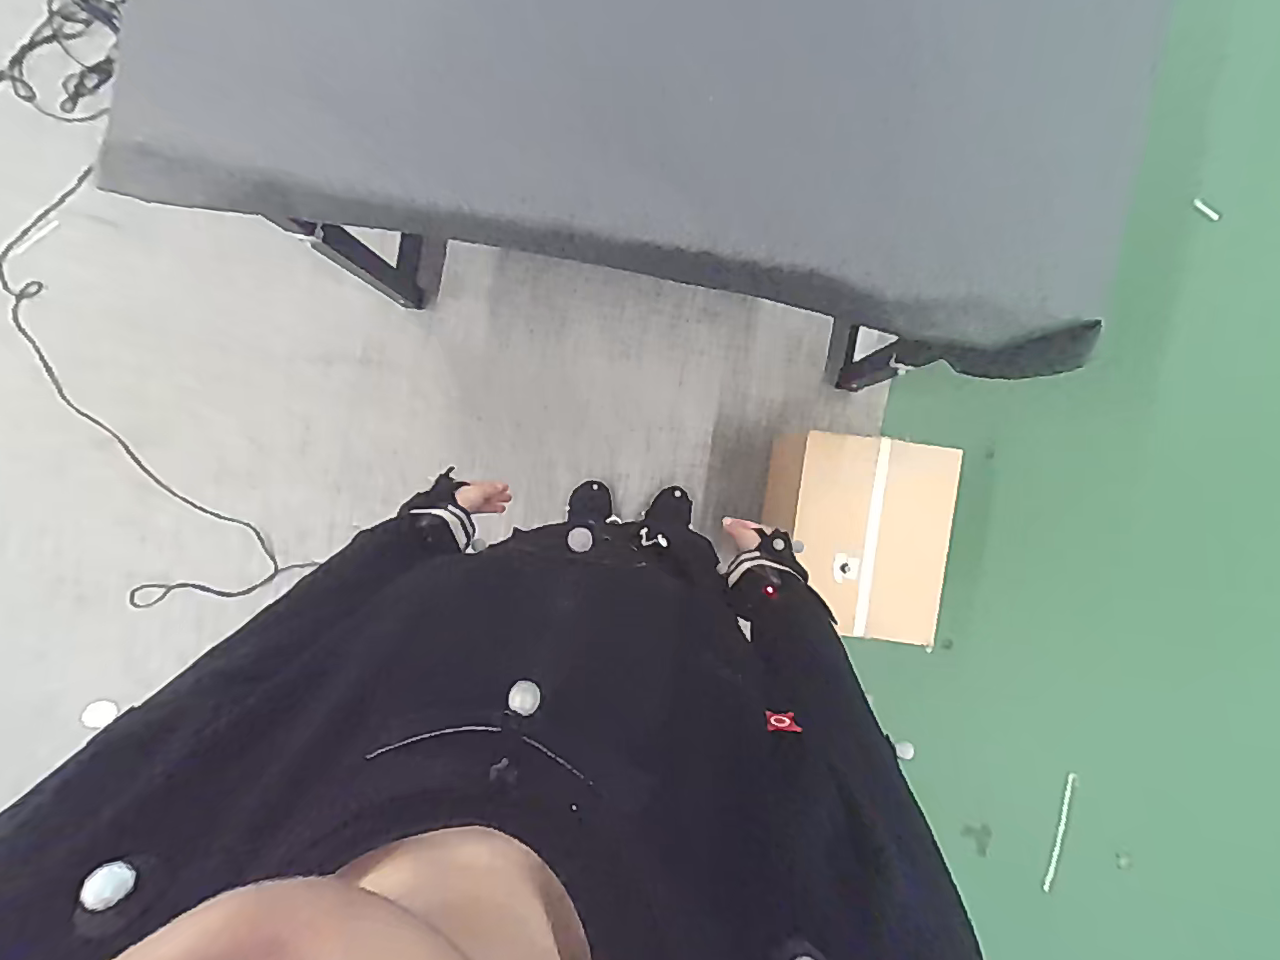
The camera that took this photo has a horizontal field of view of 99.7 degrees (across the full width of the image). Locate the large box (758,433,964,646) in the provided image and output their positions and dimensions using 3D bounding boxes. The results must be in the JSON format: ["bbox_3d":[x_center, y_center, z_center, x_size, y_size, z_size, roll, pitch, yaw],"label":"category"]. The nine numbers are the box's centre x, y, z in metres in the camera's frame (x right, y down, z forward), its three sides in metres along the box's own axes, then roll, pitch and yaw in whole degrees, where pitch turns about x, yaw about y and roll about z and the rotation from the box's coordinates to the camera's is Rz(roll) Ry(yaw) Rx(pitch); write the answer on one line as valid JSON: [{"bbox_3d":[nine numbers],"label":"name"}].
[{"bbox_3d":[0.470,0.112,1.223,0.320,0.320,0.408,8,92,2],"label":"large box"}]
